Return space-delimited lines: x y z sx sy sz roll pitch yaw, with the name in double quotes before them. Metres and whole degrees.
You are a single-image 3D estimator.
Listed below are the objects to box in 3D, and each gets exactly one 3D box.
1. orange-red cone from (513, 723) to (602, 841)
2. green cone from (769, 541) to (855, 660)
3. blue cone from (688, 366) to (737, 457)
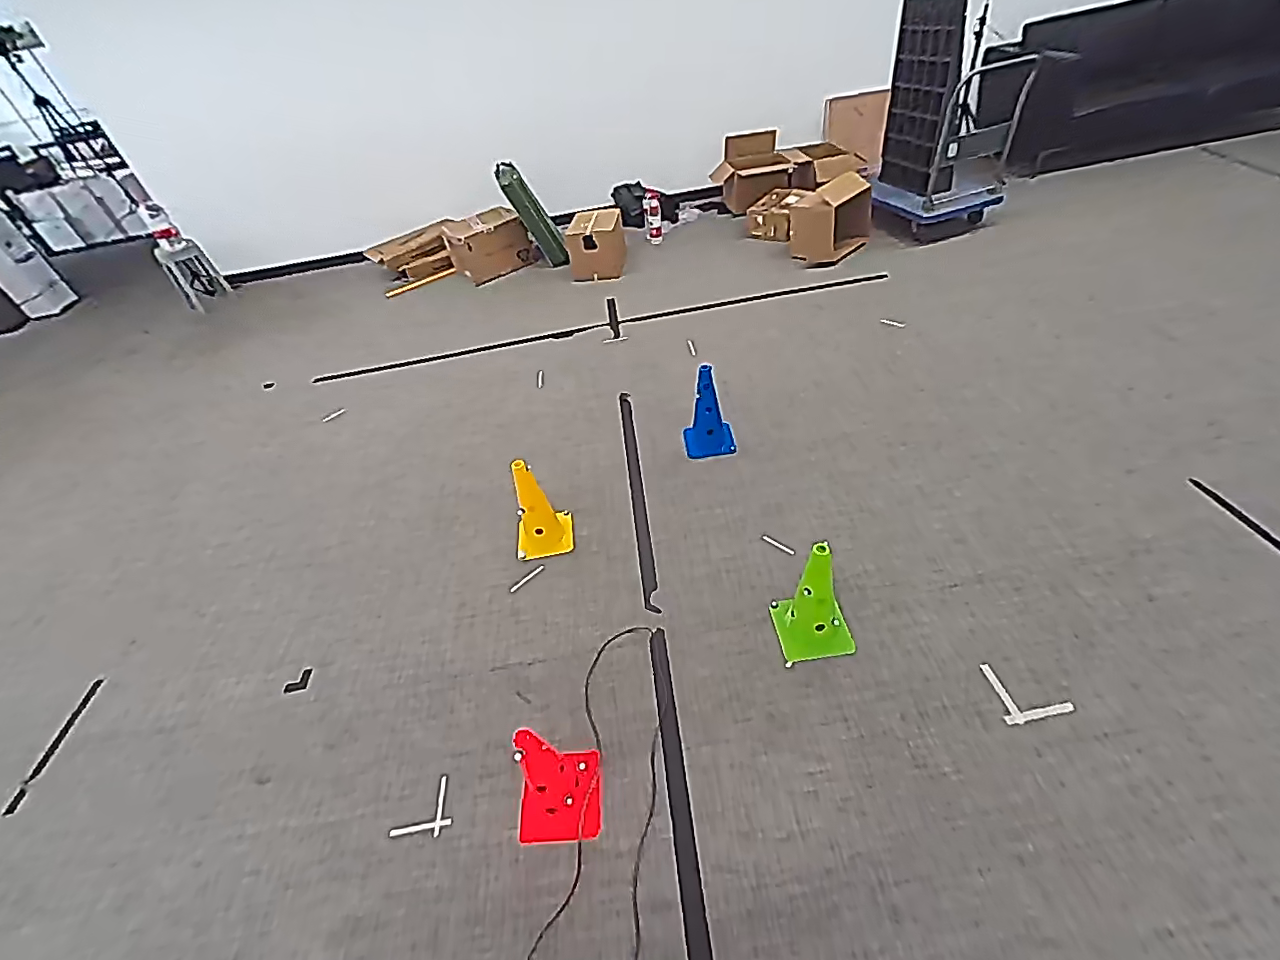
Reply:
"orange-red cone" -0.221 0.649 1.225 0.199 0.360 0.198 -7 41 5
"green cone" 0.476 0.300 1.458 0.202 0.368 0.200 -8 42 0
"blue cone" 0.279 -0.281 2.143 0.192 0.380 0.193 -6 43 3
